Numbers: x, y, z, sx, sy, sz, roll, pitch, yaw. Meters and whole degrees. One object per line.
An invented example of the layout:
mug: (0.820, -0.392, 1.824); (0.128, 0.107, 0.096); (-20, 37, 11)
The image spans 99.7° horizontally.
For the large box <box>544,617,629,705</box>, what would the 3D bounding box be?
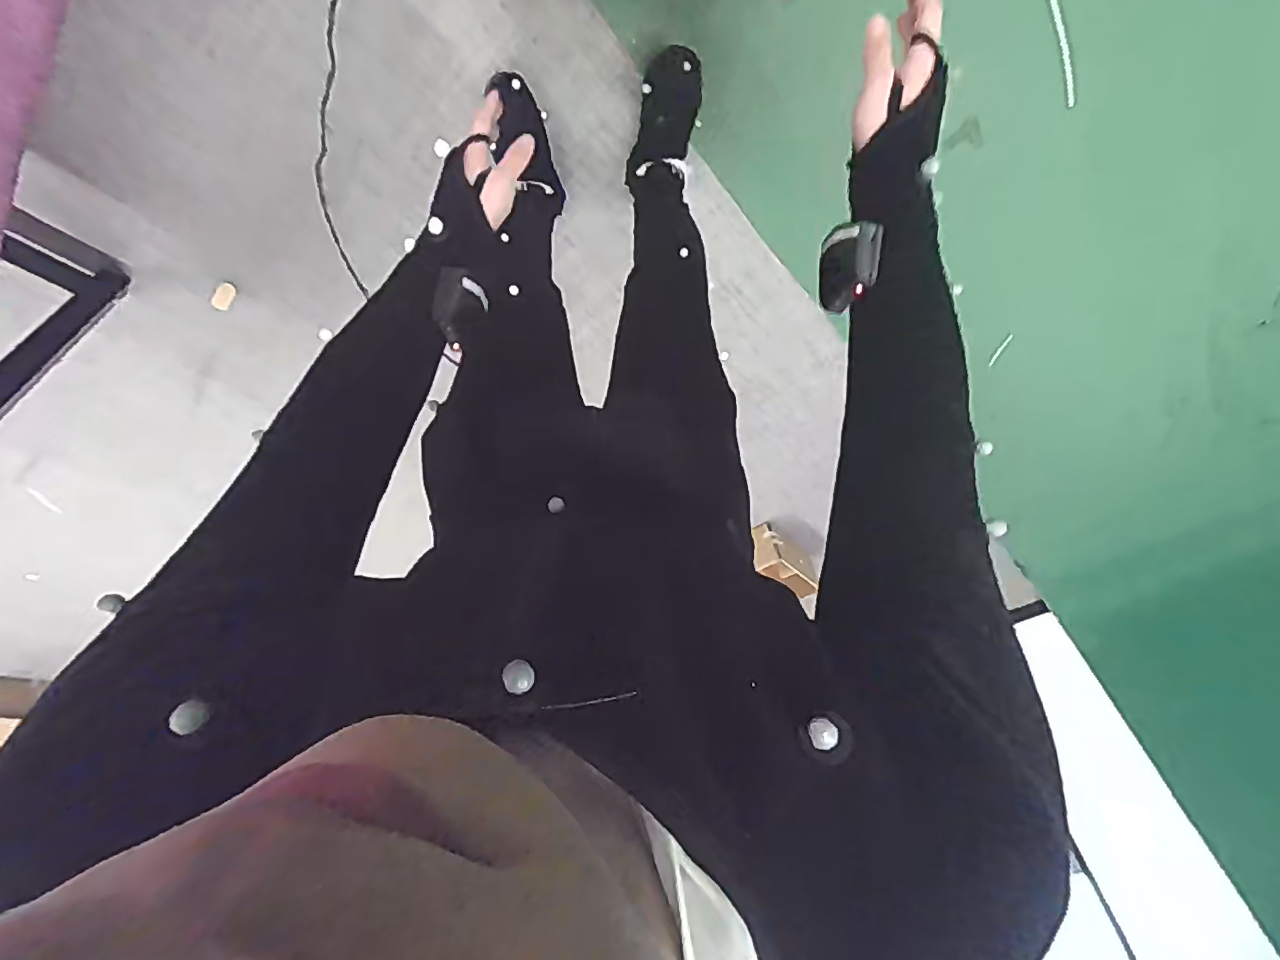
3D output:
large box: (-0.273, 0.932, 2.784); (0.408, 0.320, 0.320); (-4, 140, -5)

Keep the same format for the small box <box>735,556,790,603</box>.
small box: (0.535, 0.456, 2.373); (0.168, 0.176, 0.179); (-27, 134, 26)

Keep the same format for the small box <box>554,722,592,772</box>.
small box: (-0.307, 1.219, 2.483); (0.168, 0.176, 0.179); (-3, 139, -5)
